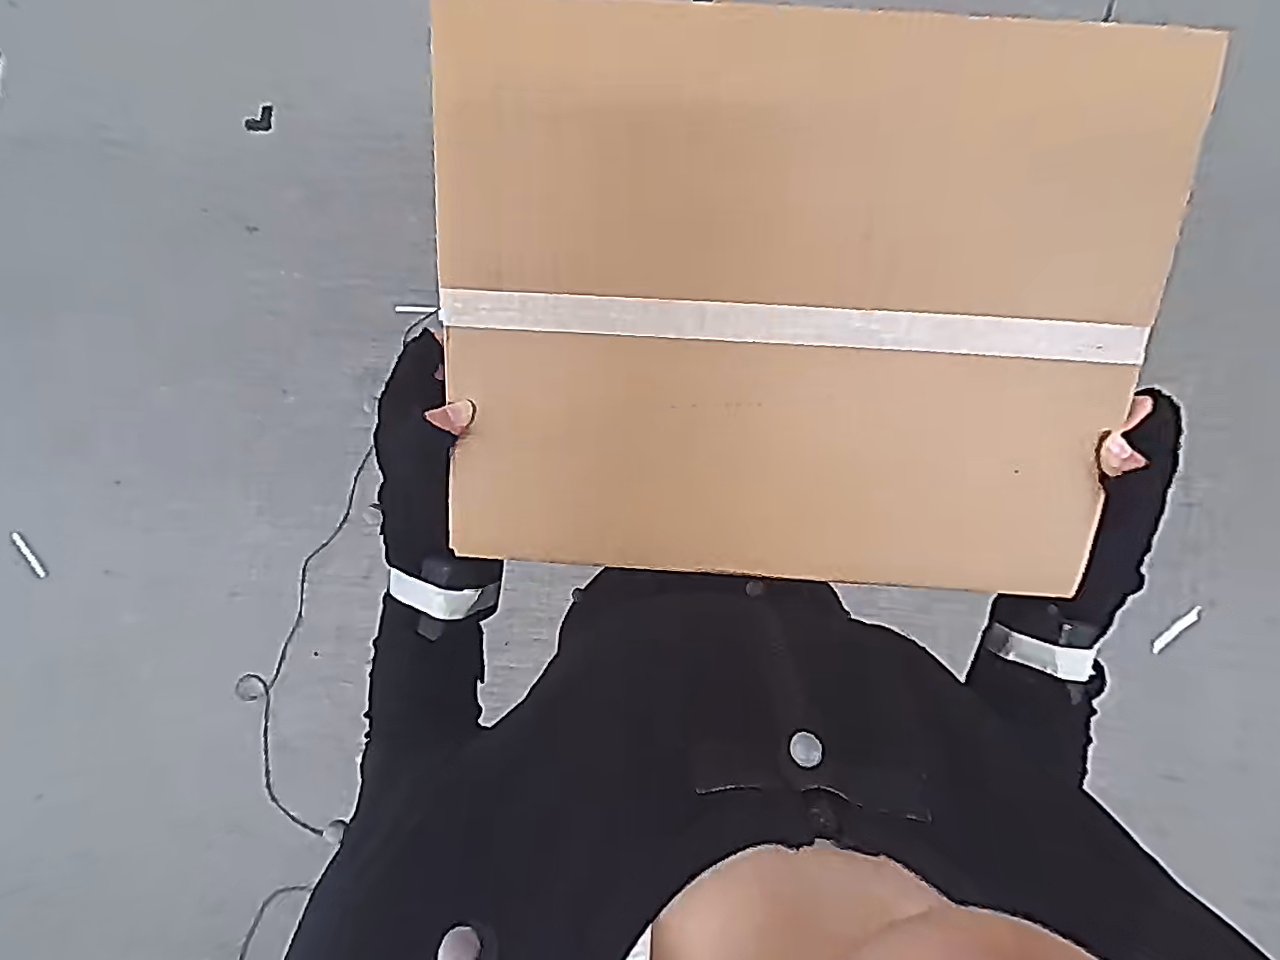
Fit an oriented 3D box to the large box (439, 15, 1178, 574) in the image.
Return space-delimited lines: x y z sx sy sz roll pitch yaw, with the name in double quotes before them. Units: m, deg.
"large box" 0.085 -0.128 0.468 0.408 0.320 0.320 3 105 1
